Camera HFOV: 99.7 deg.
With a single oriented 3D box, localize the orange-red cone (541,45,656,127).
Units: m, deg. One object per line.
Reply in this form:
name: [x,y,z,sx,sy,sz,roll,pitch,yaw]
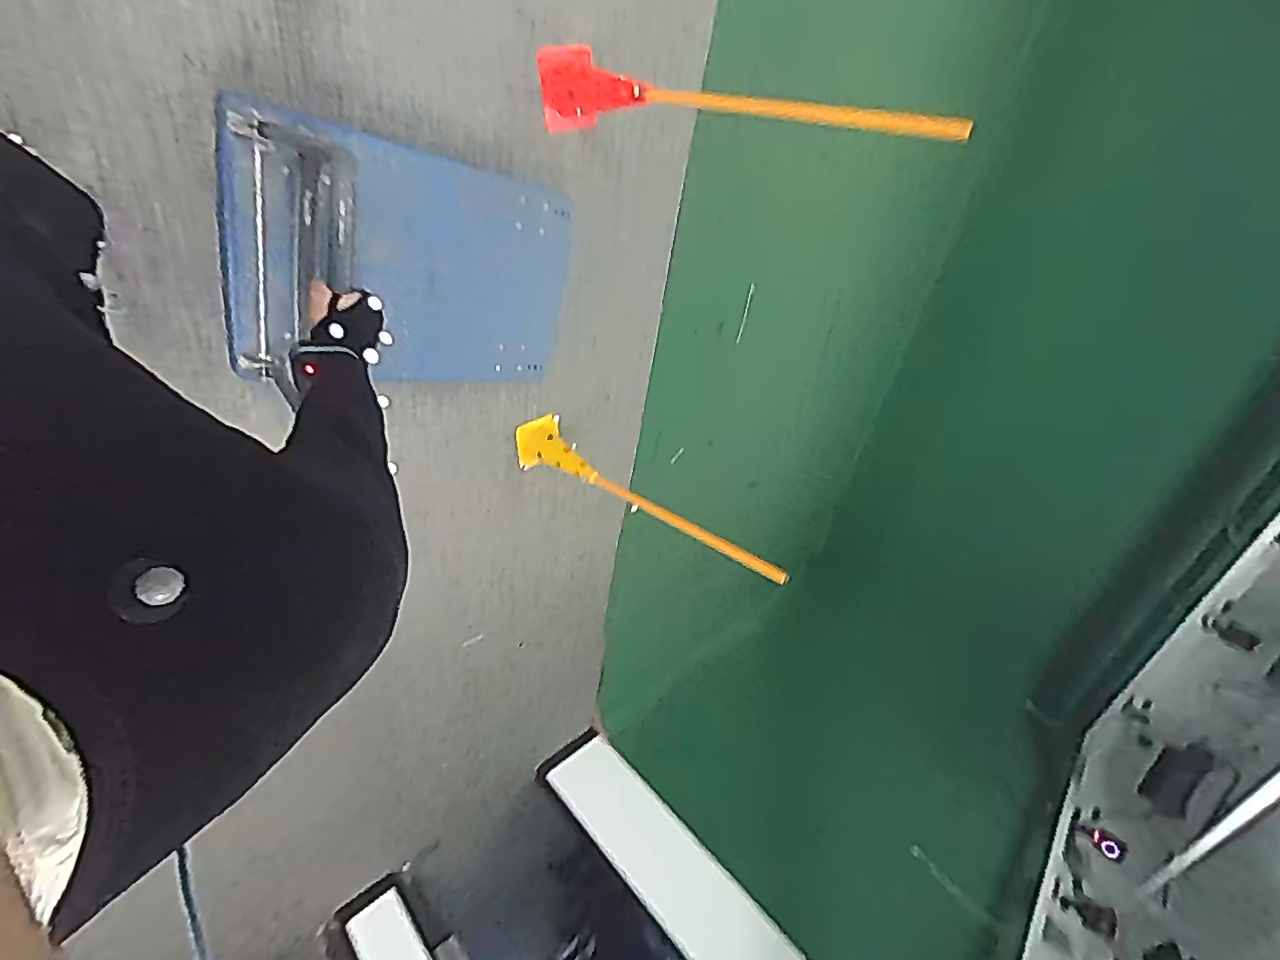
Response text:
orange-red cone: [-0.092,-1.112,1.532,0.198,0.360,0.199,-32,137,-32]
